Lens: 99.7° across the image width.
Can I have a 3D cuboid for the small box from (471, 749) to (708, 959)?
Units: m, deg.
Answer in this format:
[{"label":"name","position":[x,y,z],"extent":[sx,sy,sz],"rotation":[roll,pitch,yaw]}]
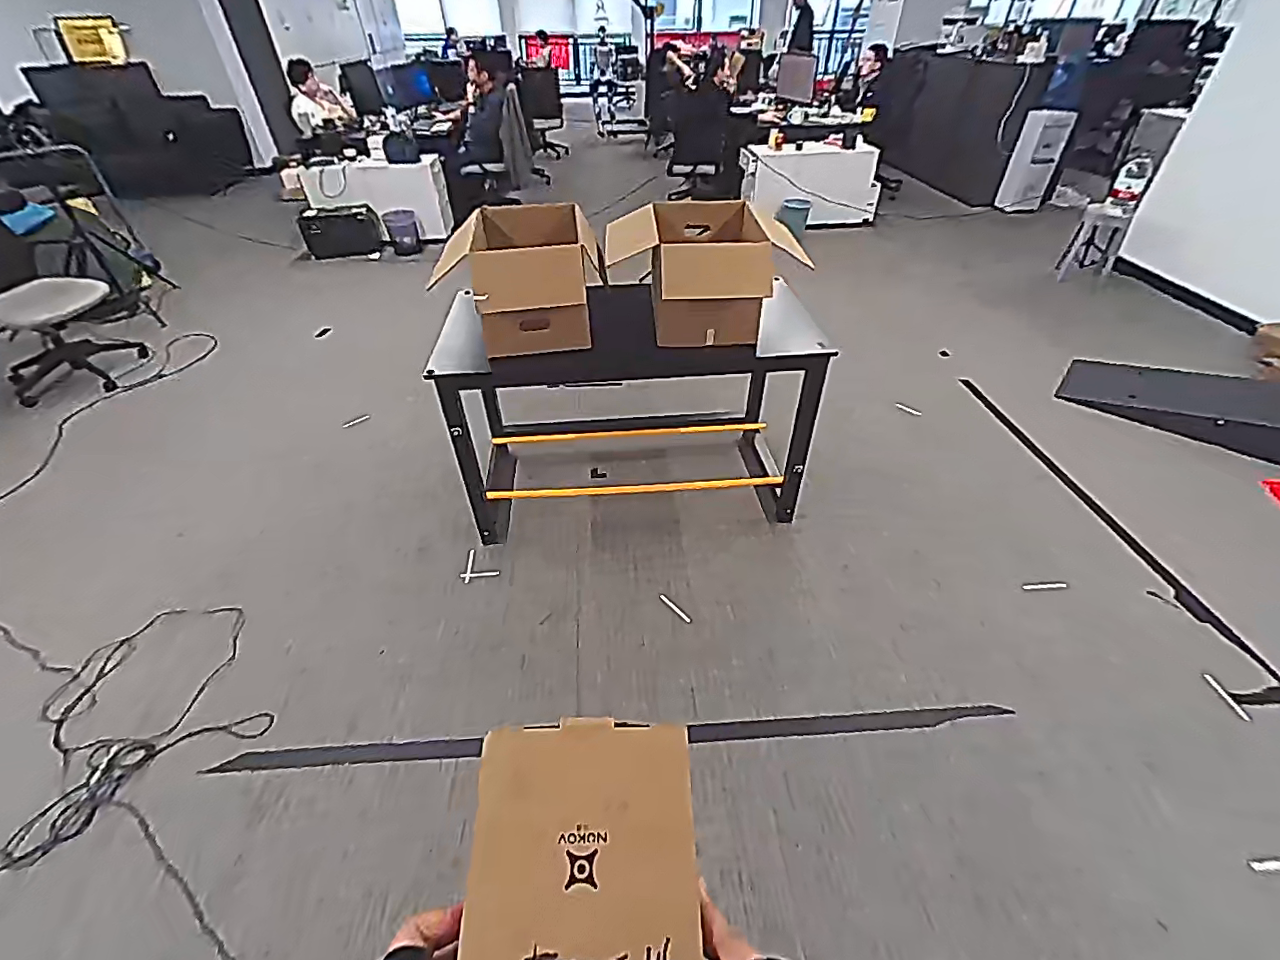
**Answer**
[{"label":"small box","position":[-0.038,0.342,0.460],"extent":[0.168,0.176,0.179],"rotation":[-1,55,-2]}]
